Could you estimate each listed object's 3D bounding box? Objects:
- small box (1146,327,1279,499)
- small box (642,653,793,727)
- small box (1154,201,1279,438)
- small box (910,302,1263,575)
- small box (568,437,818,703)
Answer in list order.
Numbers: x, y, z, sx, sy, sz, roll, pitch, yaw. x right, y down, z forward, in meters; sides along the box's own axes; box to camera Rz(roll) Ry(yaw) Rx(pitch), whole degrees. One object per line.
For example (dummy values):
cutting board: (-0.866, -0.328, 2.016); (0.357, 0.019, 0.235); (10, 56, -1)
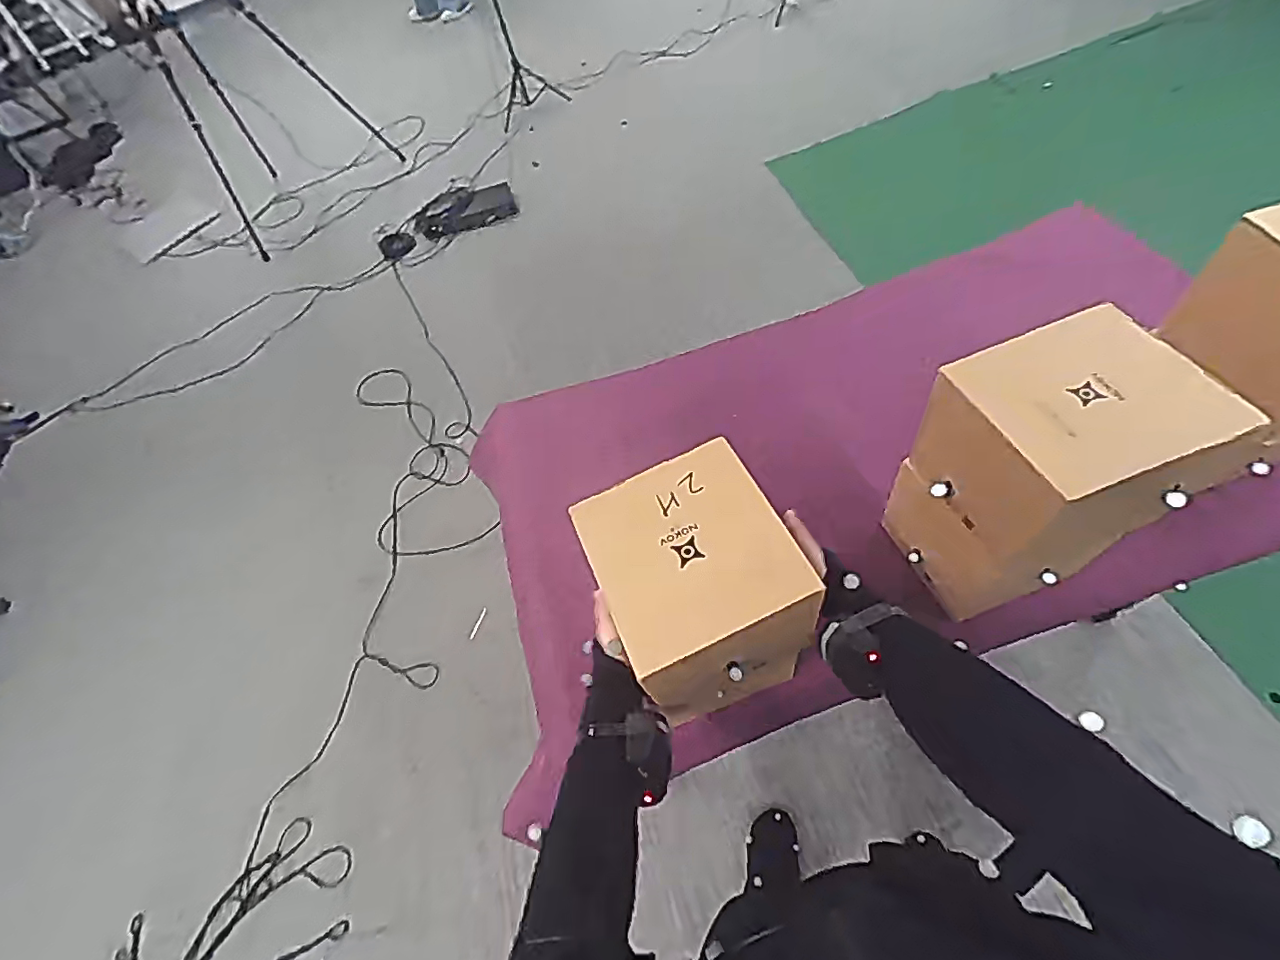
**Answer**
small box: (0.738, -0.105, 0.691); (0.179, 0.176, 0.168); (-22, 54, 0)
small box: (0.078, 0.183, 0.667); (0.179, 0.176, 0.168); (-21, 55, -3)
small box: (0.695, -0.172, 0.546); (0.168, 0.176, 0.179); (-16, 56, 5)
small box: (0.399, -0.034, 0.530); (0.179, 0.176, 0.168); (-22, 53, 1)
small box: (0.052, 0.097, 0.527); (0.168, 0.176, 0.179); (-25, 54, -3)
